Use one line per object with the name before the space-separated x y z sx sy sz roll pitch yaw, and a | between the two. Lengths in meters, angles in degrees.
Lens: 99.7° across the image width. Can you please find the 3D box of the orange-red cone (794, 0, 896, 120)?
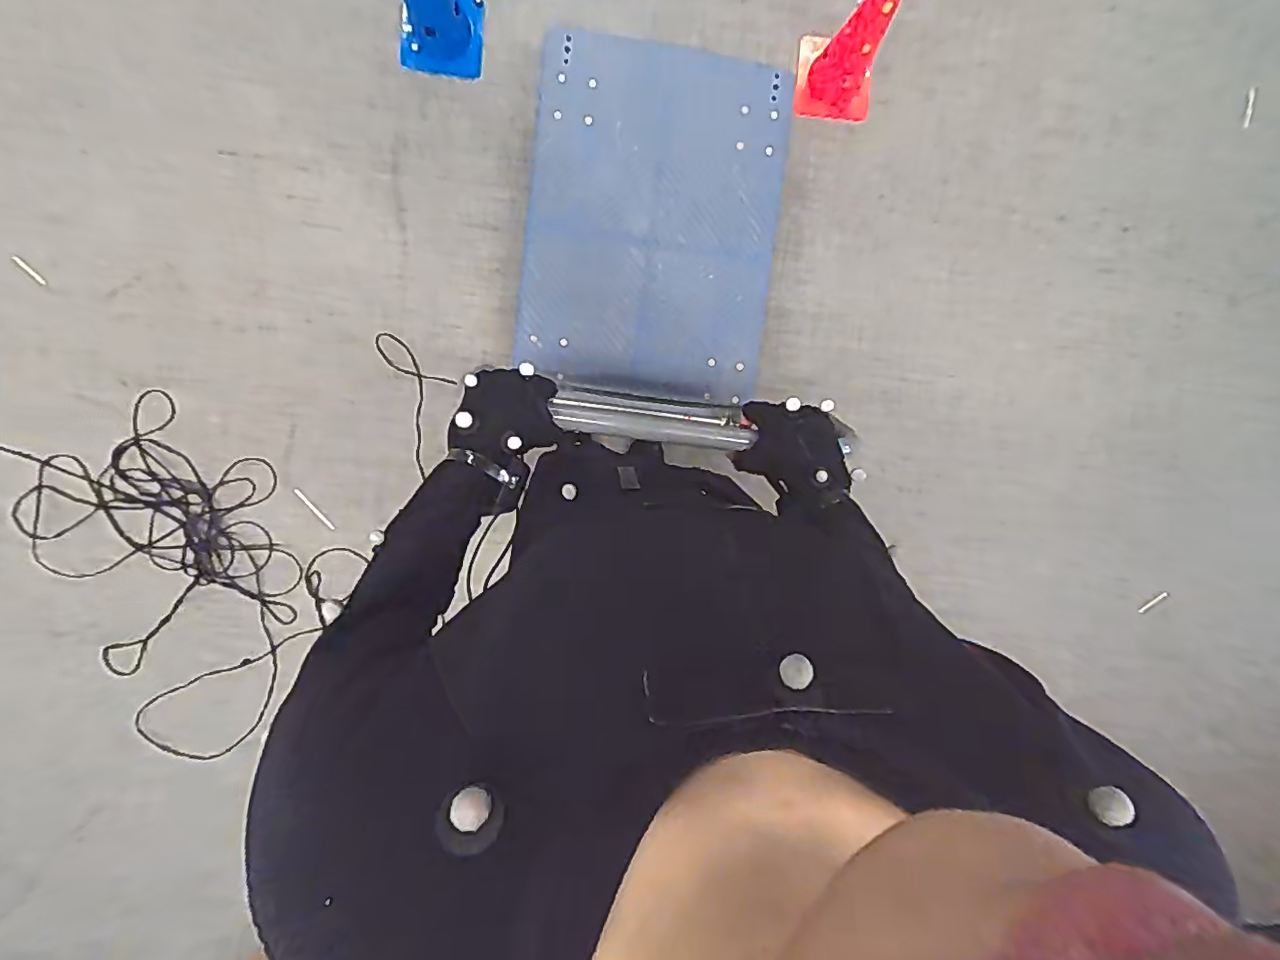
orange-red cone | 0.518 -1.049 1.259 0.199 0.360 0.198 5 94 -2
